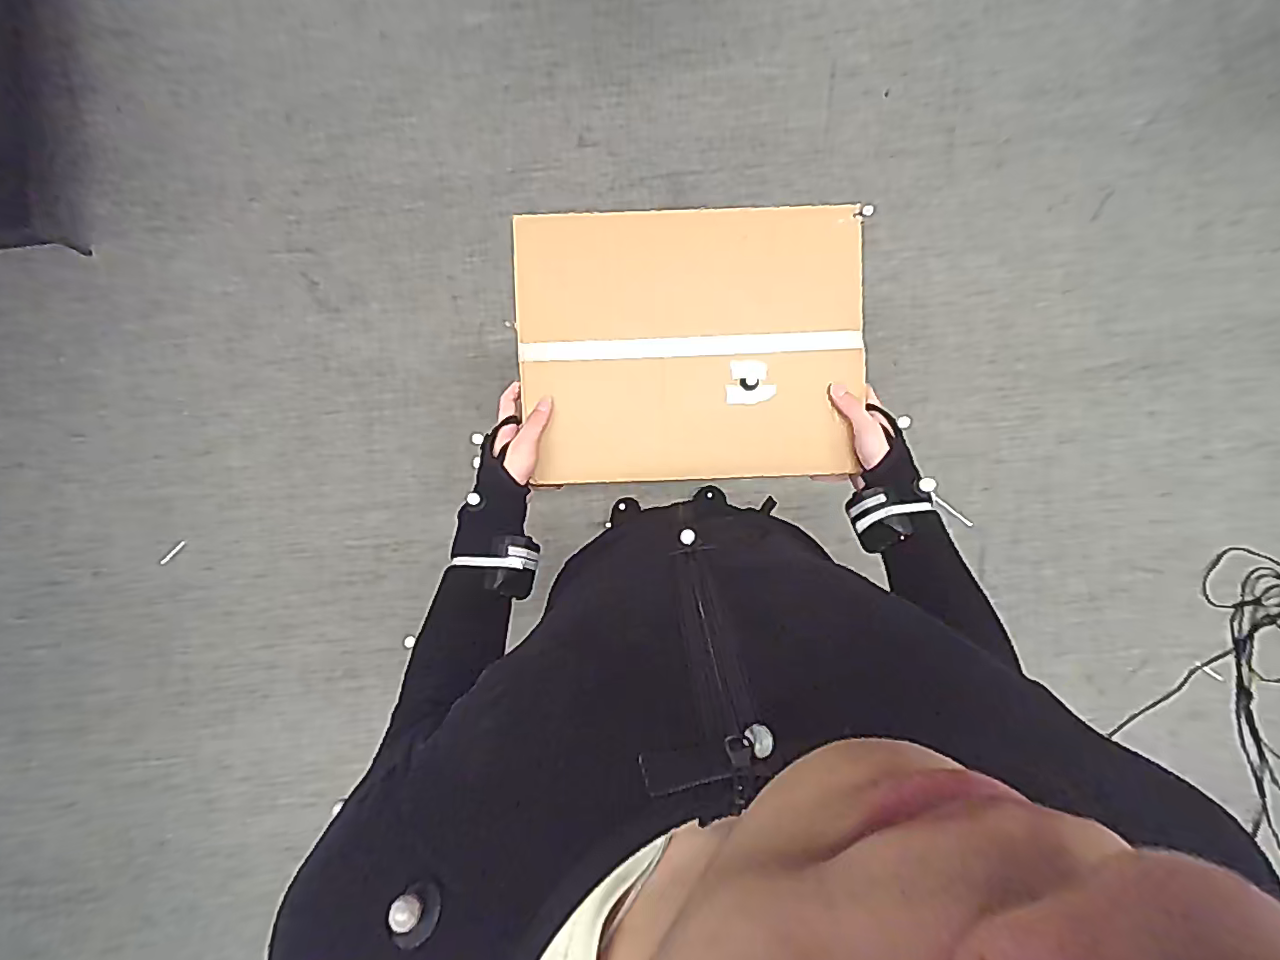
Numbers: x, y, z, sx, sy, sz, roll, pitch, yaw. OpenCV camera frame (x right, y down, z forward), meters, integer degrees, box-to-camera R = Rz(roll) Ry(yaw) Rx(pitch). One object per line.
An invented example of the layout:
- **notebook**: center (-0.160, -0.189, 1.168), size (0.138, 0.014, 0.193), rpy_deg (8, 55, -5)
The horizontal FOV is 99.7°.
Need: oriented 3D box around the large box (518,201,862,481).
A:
- **large box**: center (0.059, -0.173, 0.789), size (0.408, 0.320, 0.320), rpy_deg (-3, 95, -1)
